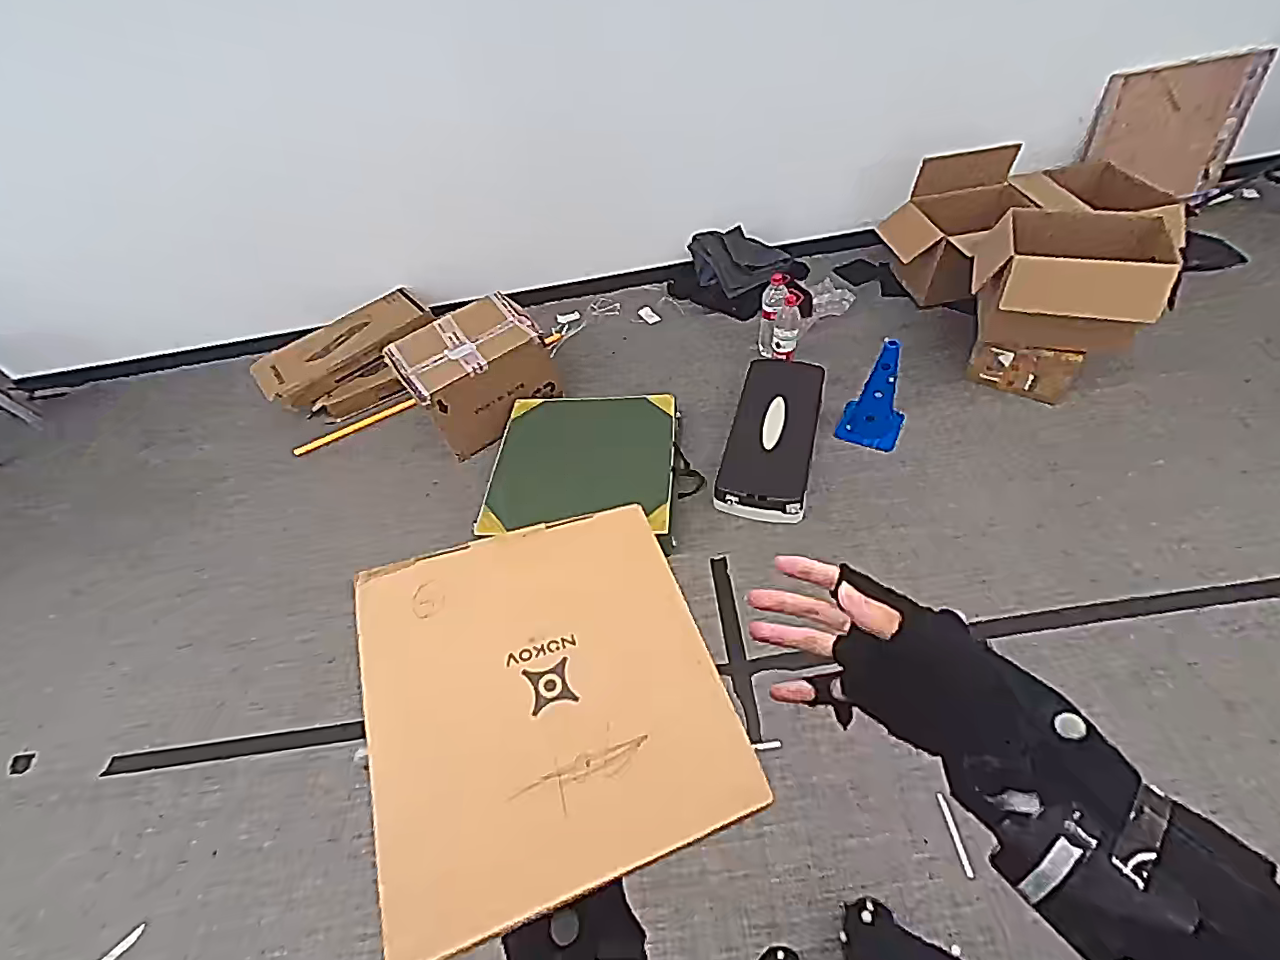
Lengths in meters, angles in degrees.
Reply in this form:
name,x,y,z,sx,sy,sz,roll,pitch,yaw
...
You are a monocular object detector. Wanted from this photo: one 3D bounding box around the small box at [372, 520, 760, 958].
name,x,y,z,sx,sy,sz,roll,pitch,yaw
small box,-0.056,0.156,0.342,0.168,0.176,0.179,-13,55,-18
